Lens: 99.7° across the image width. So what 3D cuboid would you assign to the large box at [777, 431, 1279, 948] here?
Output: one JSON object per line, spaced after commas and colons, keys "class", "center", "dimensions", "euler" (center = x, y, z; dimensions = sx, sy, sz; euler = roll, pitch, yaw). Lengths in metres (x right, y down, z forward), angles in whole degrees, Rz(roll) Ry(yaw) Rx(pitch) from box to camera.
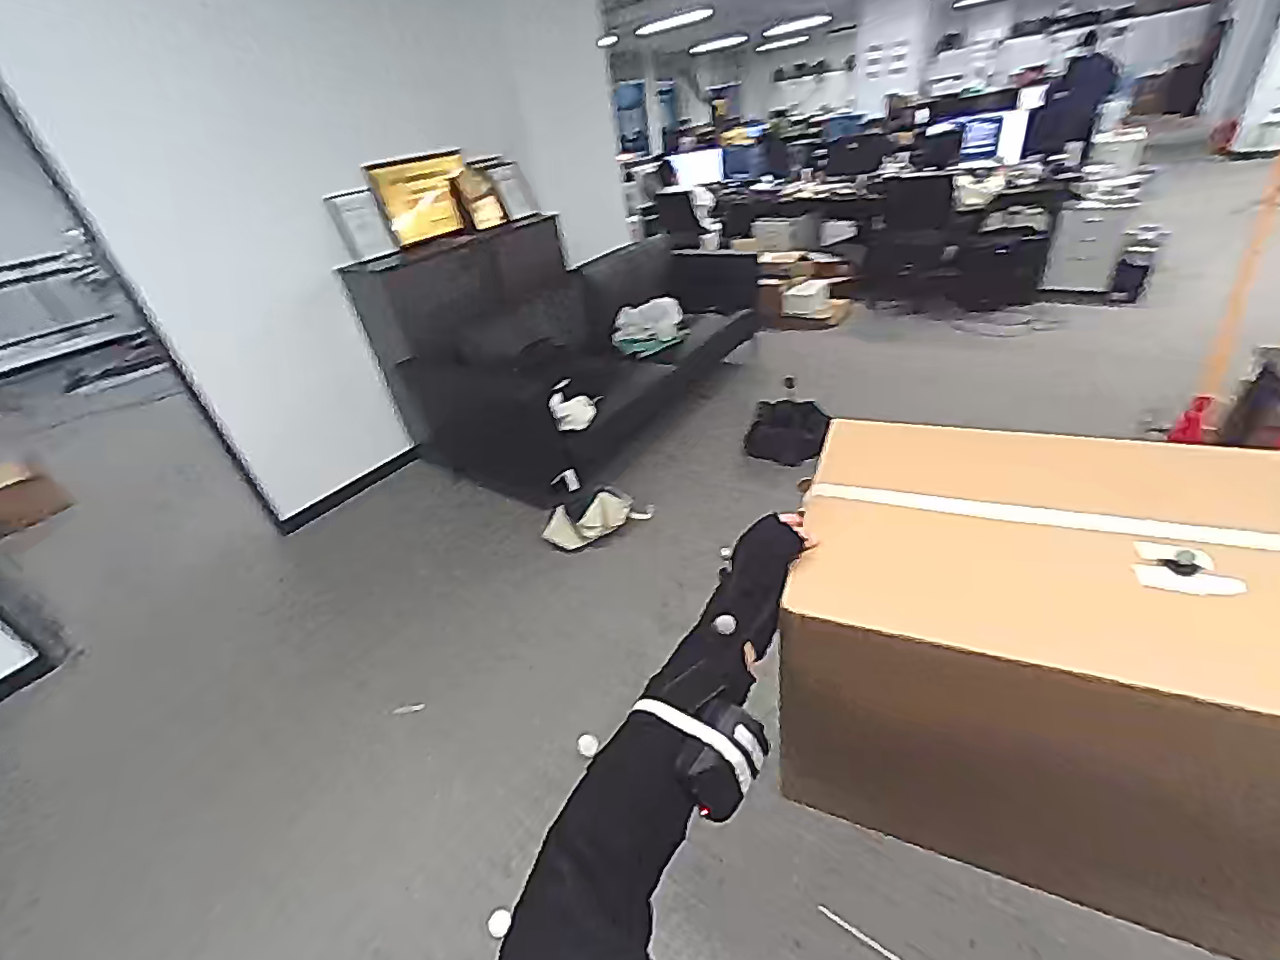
{"class": "large box", "center": [0.370, 0.169, 0.557], "dimensions": [0.408, 0.320, 0.320], "euler": [8, 38, 23]}
